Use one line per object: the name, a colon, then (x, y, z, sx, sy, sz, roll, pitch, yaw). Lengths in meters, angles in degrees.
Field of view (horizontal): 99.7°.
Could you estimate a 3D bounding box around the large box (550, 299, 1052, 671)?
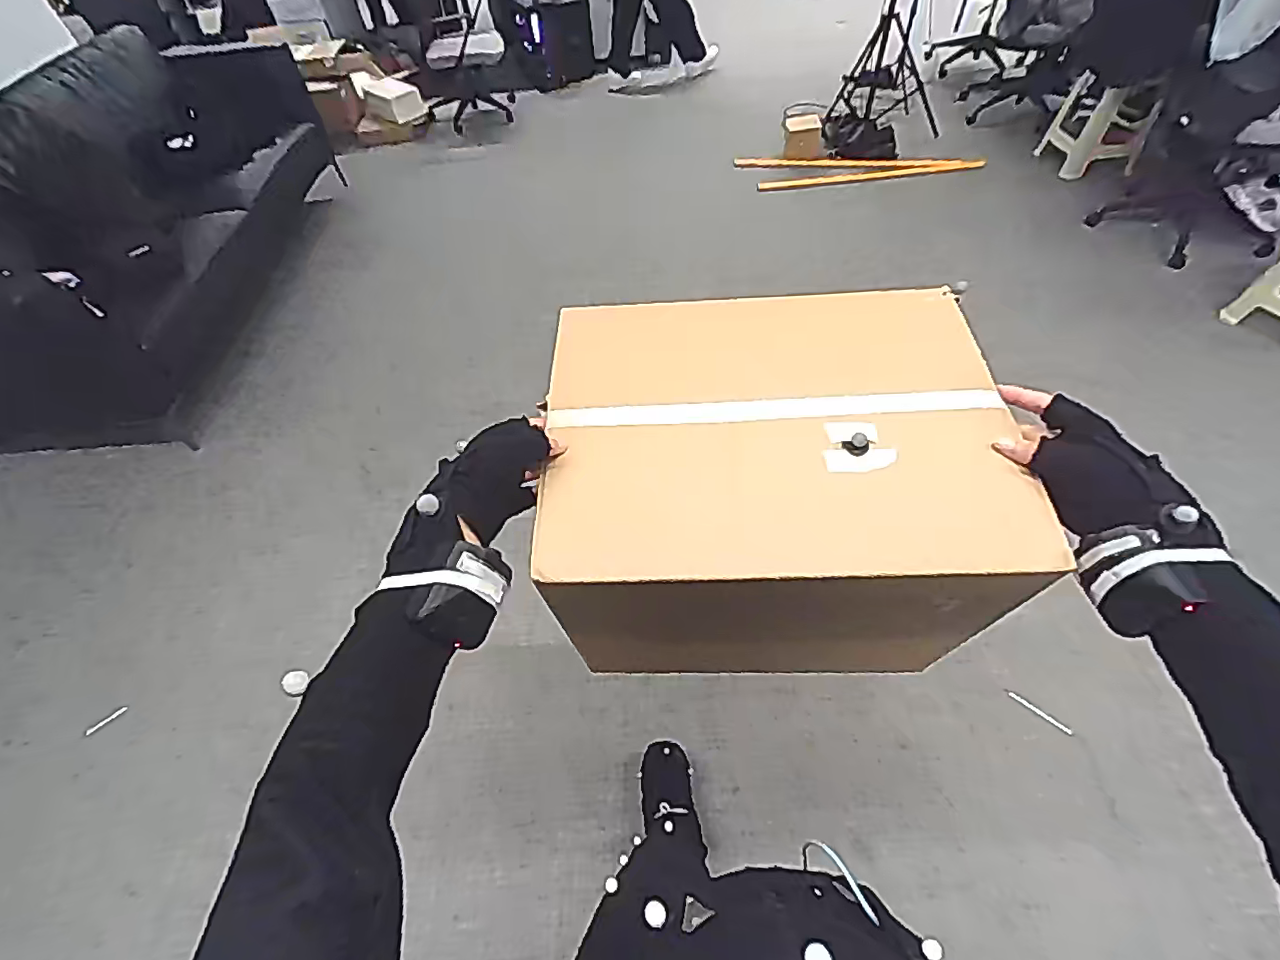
large box: (0.129, 0.024, 0.629, 0.408, 0.320, 0.320, -2, 58, 3)
